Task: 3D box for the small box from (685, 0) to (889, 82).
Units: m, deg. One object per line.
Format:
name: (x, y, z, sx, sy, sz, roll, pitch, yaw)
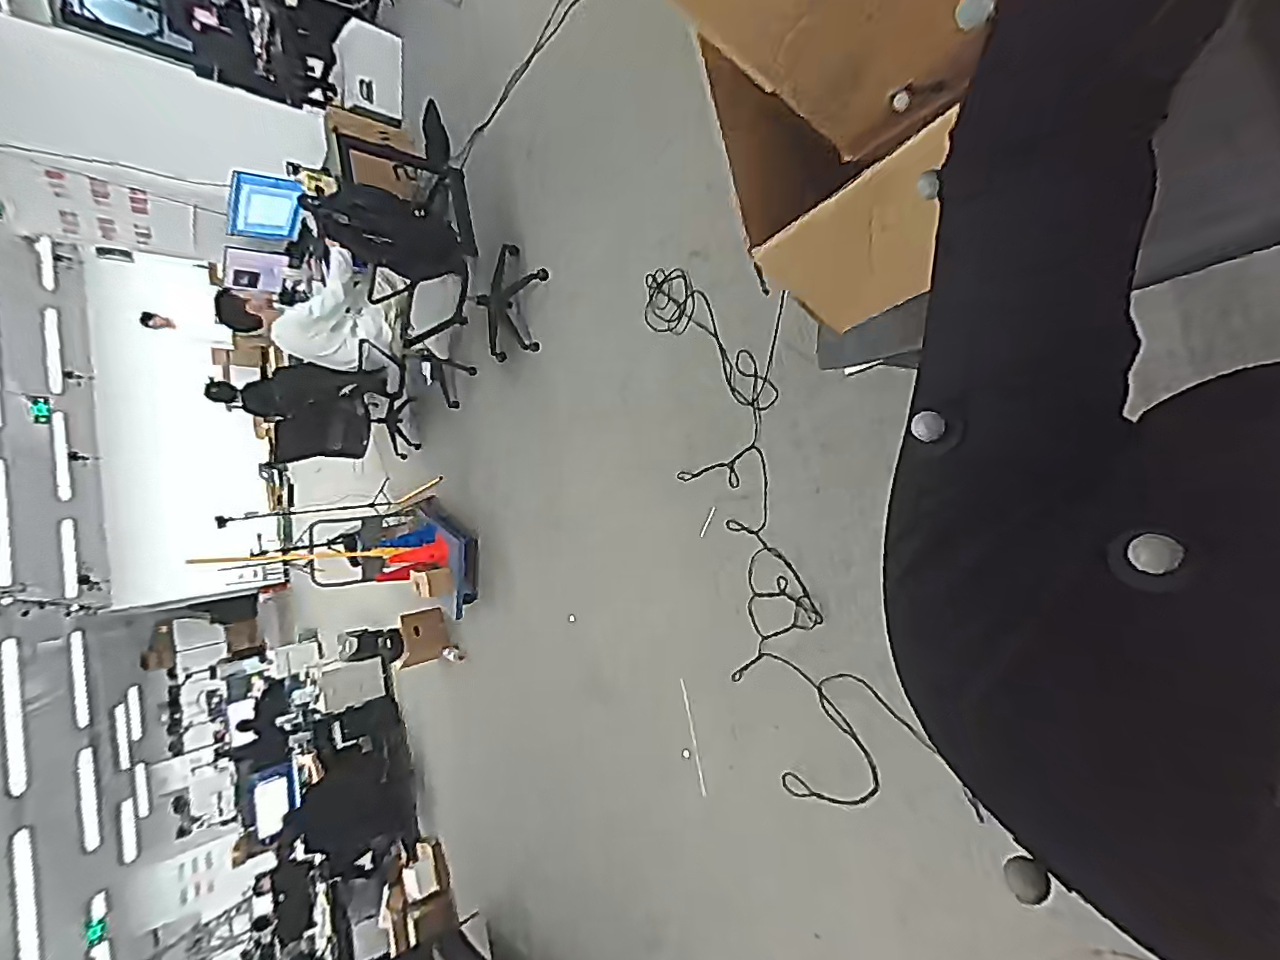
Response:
small box: (0.117, -0.462, 0.411, 0.179, 0.176, 0.168, -15, 81, 45)
